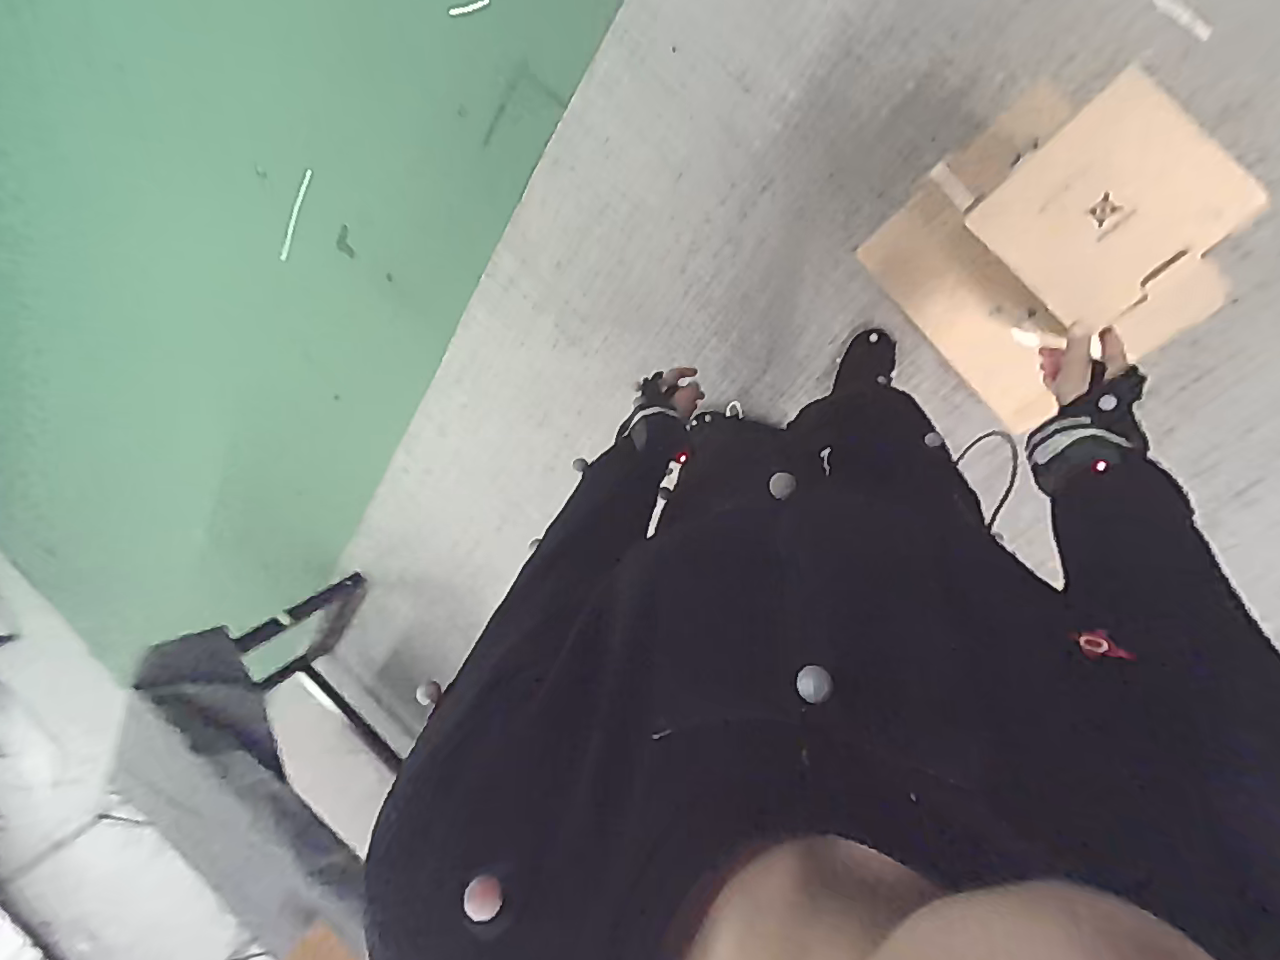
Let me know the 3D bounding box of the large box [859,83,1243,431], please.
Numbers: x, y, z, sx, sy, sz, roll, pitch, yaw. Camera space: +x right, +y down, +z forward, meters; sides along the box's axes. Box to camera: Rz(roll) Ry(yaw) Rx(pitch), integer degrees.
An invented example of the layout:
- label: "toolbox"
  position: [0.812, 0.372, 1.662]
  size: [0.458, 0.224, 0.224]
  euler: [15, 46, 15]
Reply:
- label: "large box"
  position: [0.636, -0.357, 0.933]
  size: [0.408, 0.320, 0.320]
  euler: [48, 120, 1]

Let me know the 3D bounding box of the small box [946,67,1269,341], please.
- label: "small box"
  position: [0.461, -0.274, 0.572]
  size: [0.179, 0.176, 0.168]
  euler: [46, 118, 3]

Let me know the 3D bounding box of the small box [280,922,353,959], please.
- label: "small box"
  position: [-0.872, 1.310, 1.403]
  size: [0.179, 0.176, 0.168]
  euler: [42, 119, 6]
